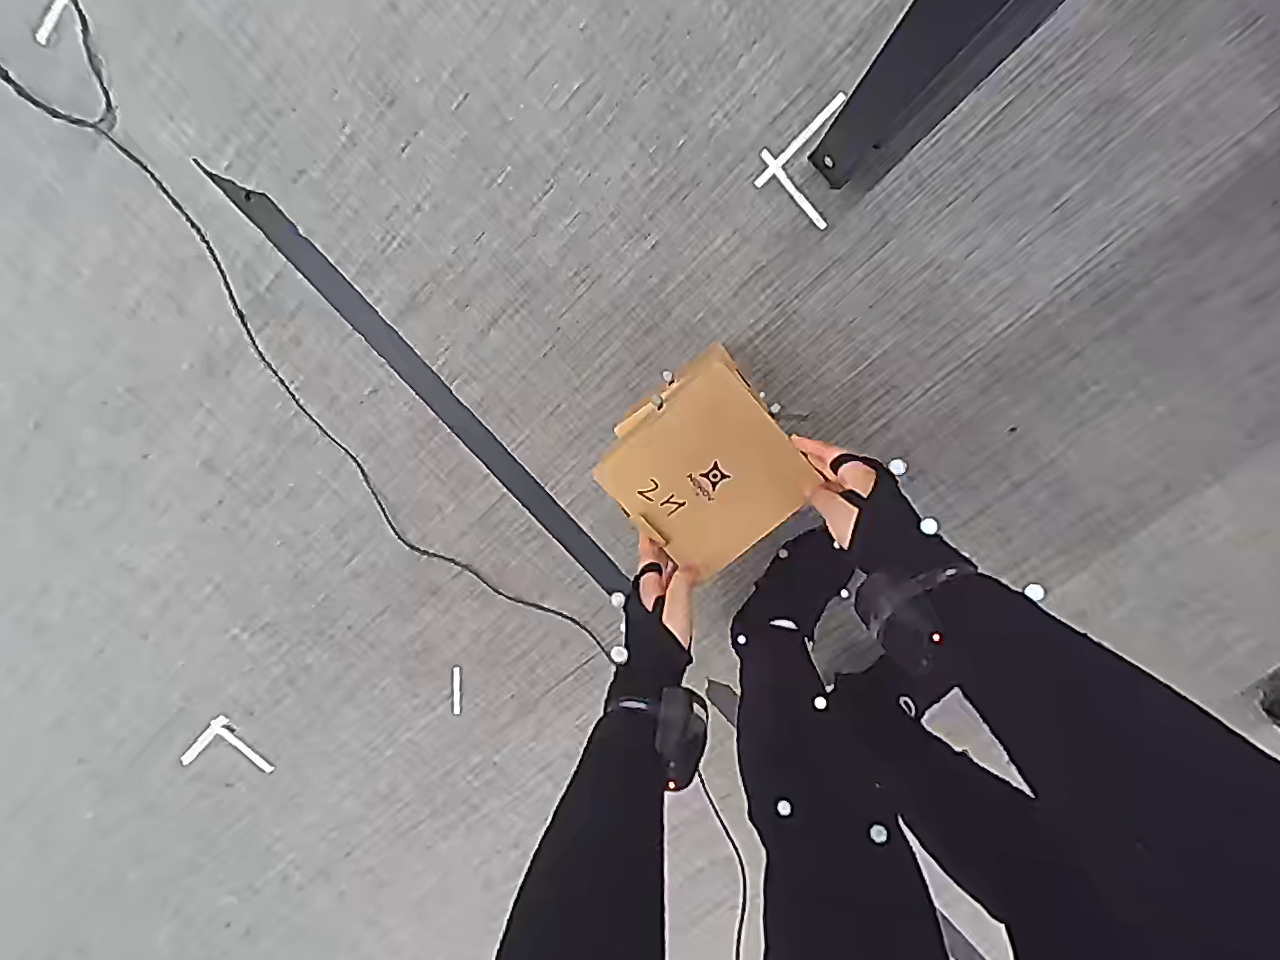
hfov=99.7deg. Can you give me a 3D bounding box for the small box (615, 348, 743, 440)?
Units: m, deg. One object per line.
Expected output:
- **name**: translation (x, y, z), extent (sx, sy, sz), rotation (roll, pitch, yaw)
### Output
- **small box**: translation (0.090, -0.071, 0.777), extent (0.179, 0.176, 0.168), rotation (-36, 99, 13)

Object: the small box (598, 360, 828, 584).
- **small box**: translation (0.077, -0.022, 0.619), extent (0.179, 0.176, 0.168), rotation (-41, 98, 14)
